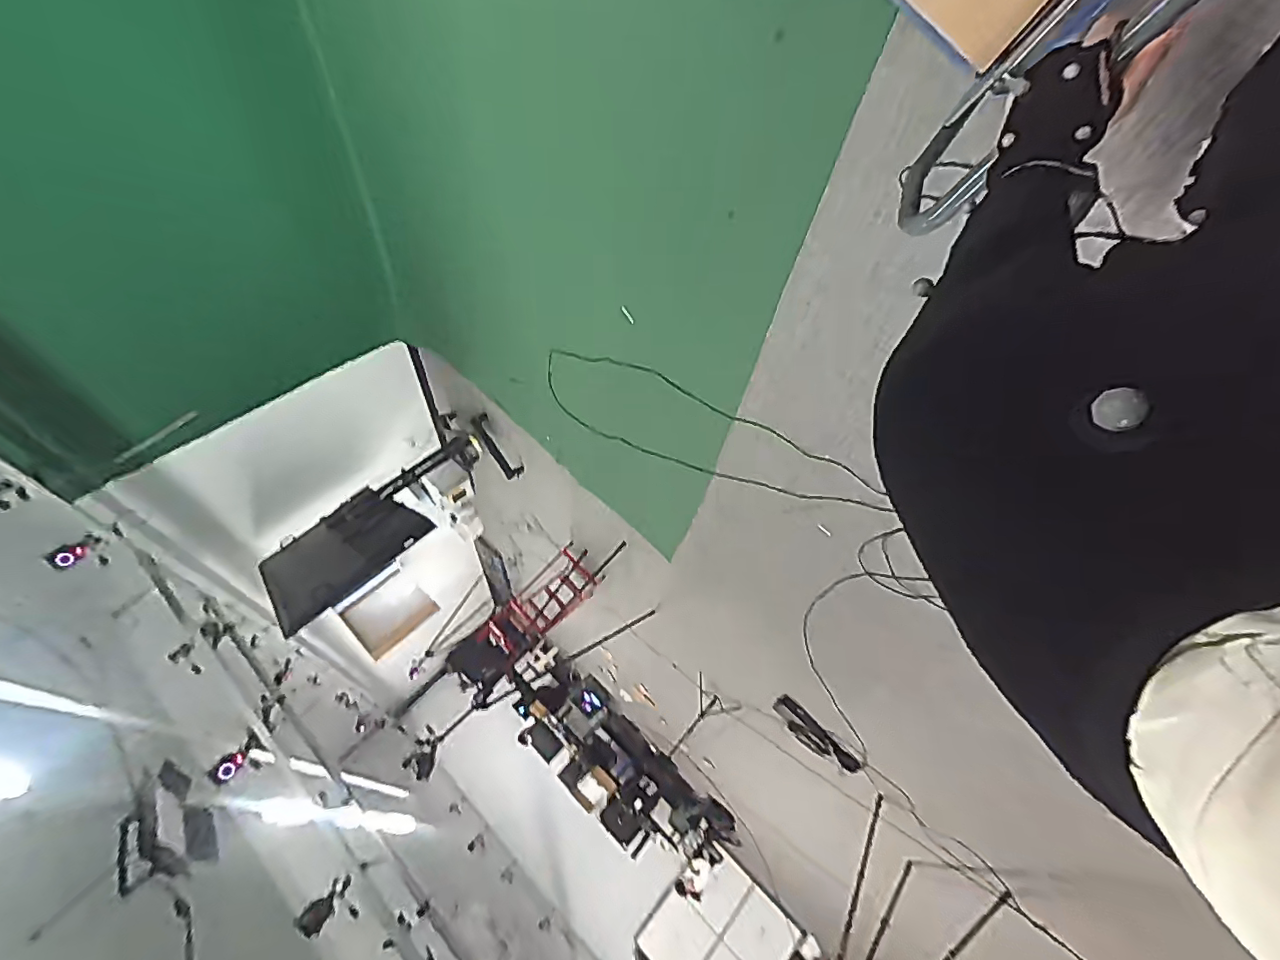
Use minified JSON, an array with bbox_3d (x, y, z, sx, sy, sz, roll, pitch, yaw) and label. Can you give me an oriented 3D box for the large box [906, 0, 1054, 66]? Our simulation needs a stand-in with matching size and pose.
[{"bbox_3d":[0.535,-0.929,0.787,0.408,0.320,0.320,43,152,0],"label":"large box"}]
